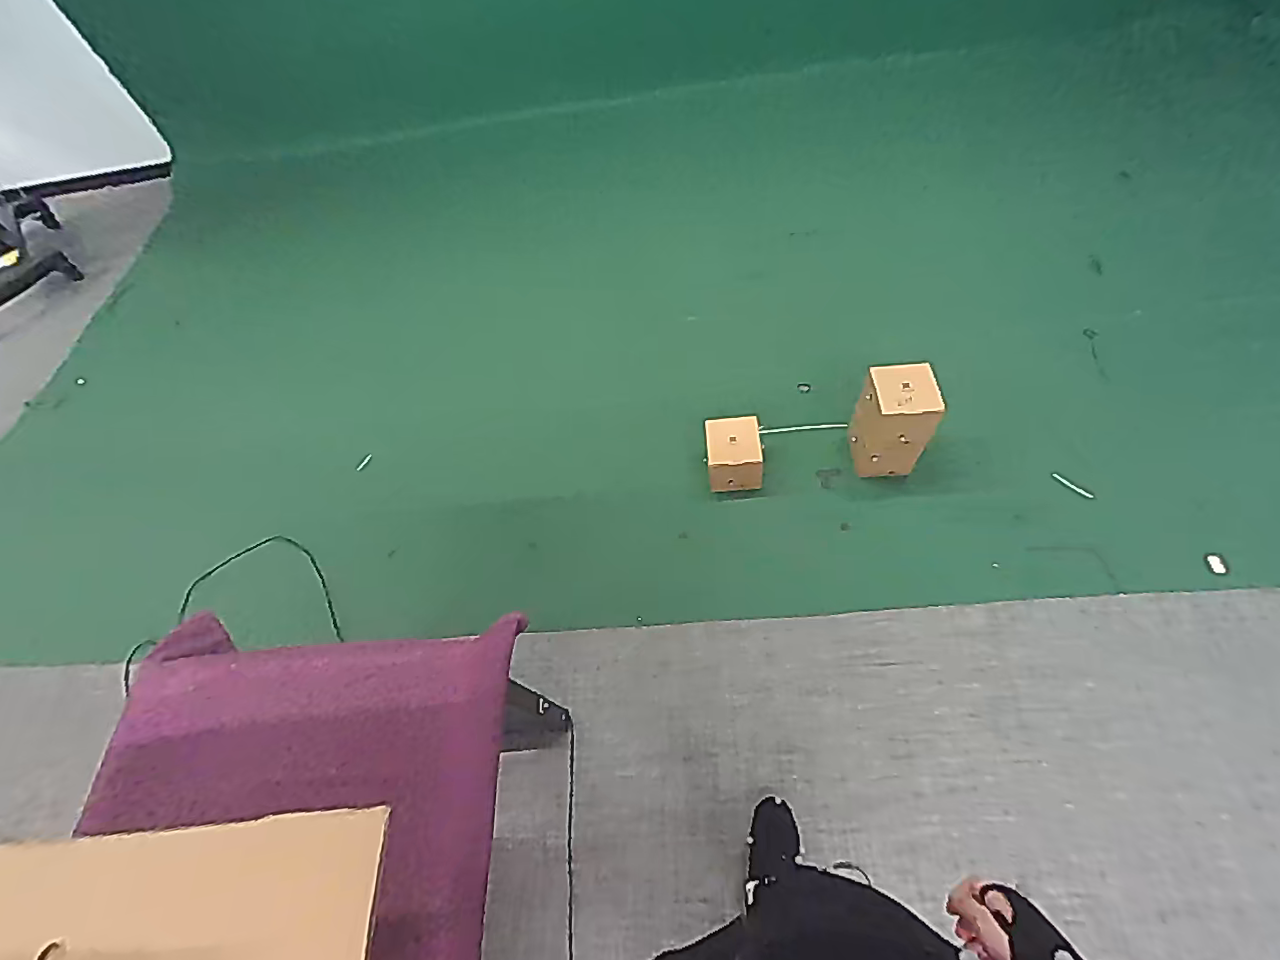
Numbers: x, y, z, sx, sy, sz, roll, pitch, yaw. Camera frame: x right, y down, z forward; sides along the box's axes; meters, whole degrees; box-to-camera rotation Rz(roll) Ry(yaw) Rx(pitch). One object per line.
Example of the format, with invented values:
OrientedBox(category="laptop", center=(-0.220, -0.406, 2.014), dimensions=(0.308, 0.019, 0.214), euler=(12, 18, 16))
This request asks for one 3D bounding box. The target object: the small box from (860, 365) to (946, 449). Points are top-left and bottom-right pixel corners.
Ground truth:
OrientedBox(category="small box", center=(0.755, -0.211, 1.575), dimensions=(0.168, 0.176, 0.179), euler=(-4, 59, 7))

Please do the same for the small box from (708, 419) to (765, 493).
OrientedBox(category="small box", center=(0.308, -0.076, 1.760), dimensions=(0.168, 0.176, 0.179), euler=(-5, 59, 6))
